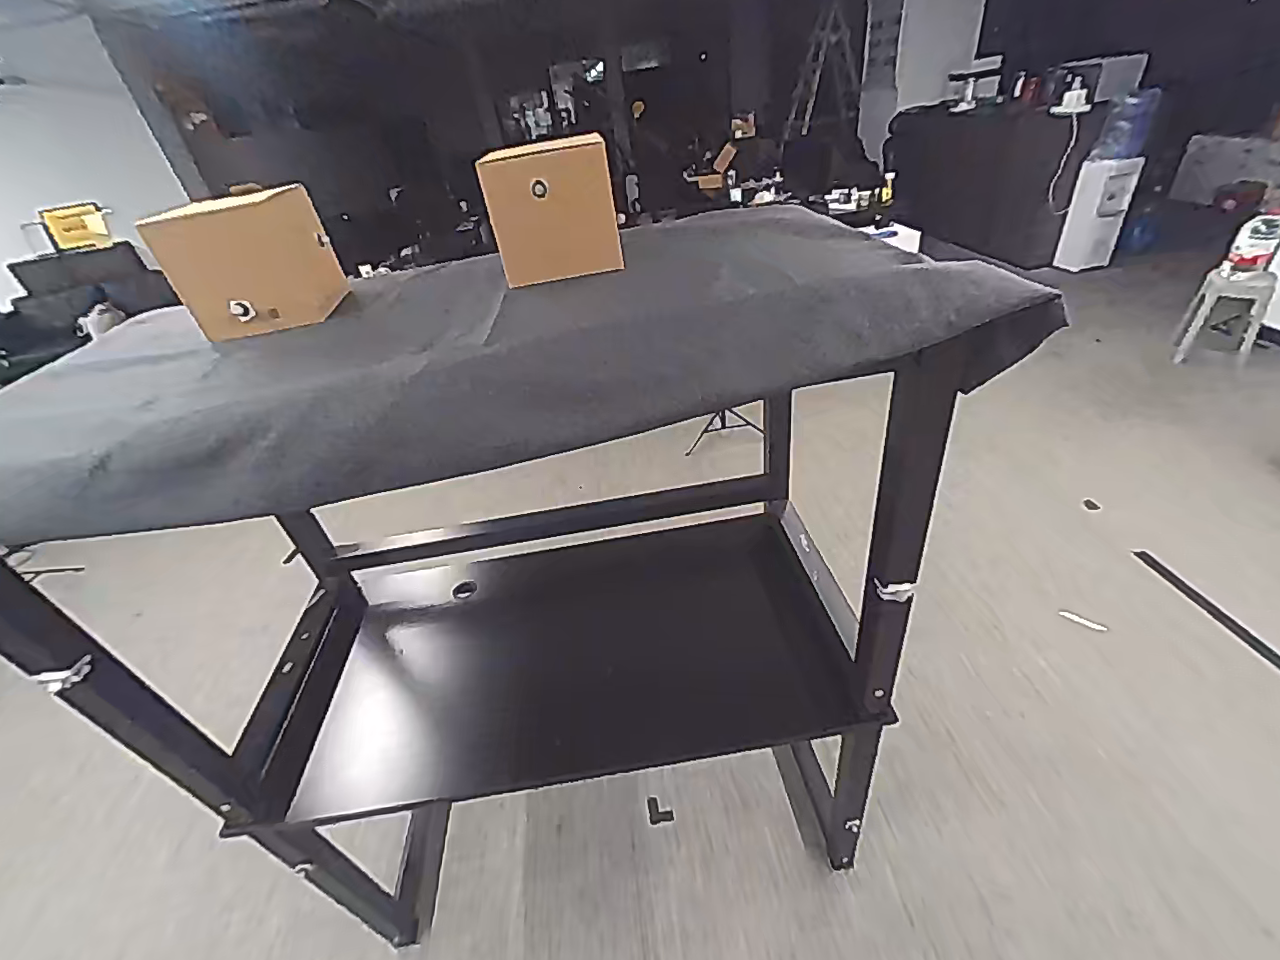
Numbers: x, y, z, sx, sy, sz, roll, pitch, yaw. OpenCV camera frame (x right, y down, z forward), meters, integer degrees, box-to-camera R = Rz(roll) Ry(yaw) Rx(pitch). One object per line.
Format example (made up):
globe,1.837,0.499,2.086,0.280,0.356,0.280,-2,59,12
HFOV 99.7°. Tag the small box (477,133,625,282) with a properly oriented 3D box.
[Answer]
small box,-0.125,-0.410,0.818,0.179,0.176,0.168,-9,36,0

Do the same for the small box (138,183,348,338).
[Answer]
small box,-0.566,-0.329,0.807,0.168,0.176,0.179,-14,36,-4
